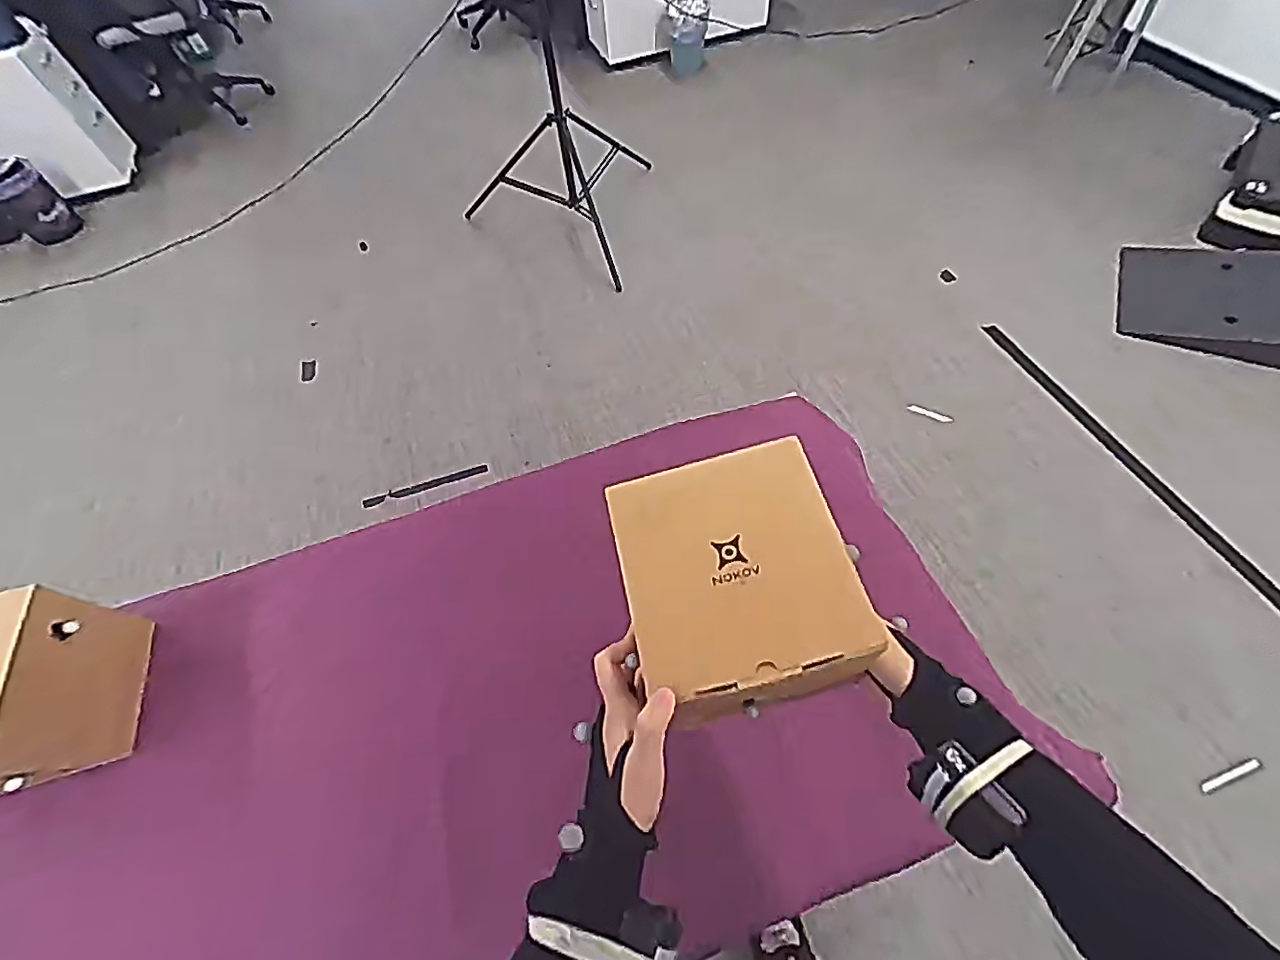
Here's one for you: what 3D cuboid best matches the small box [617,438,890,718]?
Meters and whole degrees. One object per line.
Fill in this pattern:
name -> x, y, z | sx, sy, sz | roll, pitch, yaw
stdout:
small box -> 0.086, 0.094, 0.479 | 0.168, 0.176, 0.179 | -15, 60, 1

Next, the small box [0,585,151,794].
small box -> -0.731, 0.250, 0.632 | 0.168, 0.176, 0.179 | -15, 61, -5
